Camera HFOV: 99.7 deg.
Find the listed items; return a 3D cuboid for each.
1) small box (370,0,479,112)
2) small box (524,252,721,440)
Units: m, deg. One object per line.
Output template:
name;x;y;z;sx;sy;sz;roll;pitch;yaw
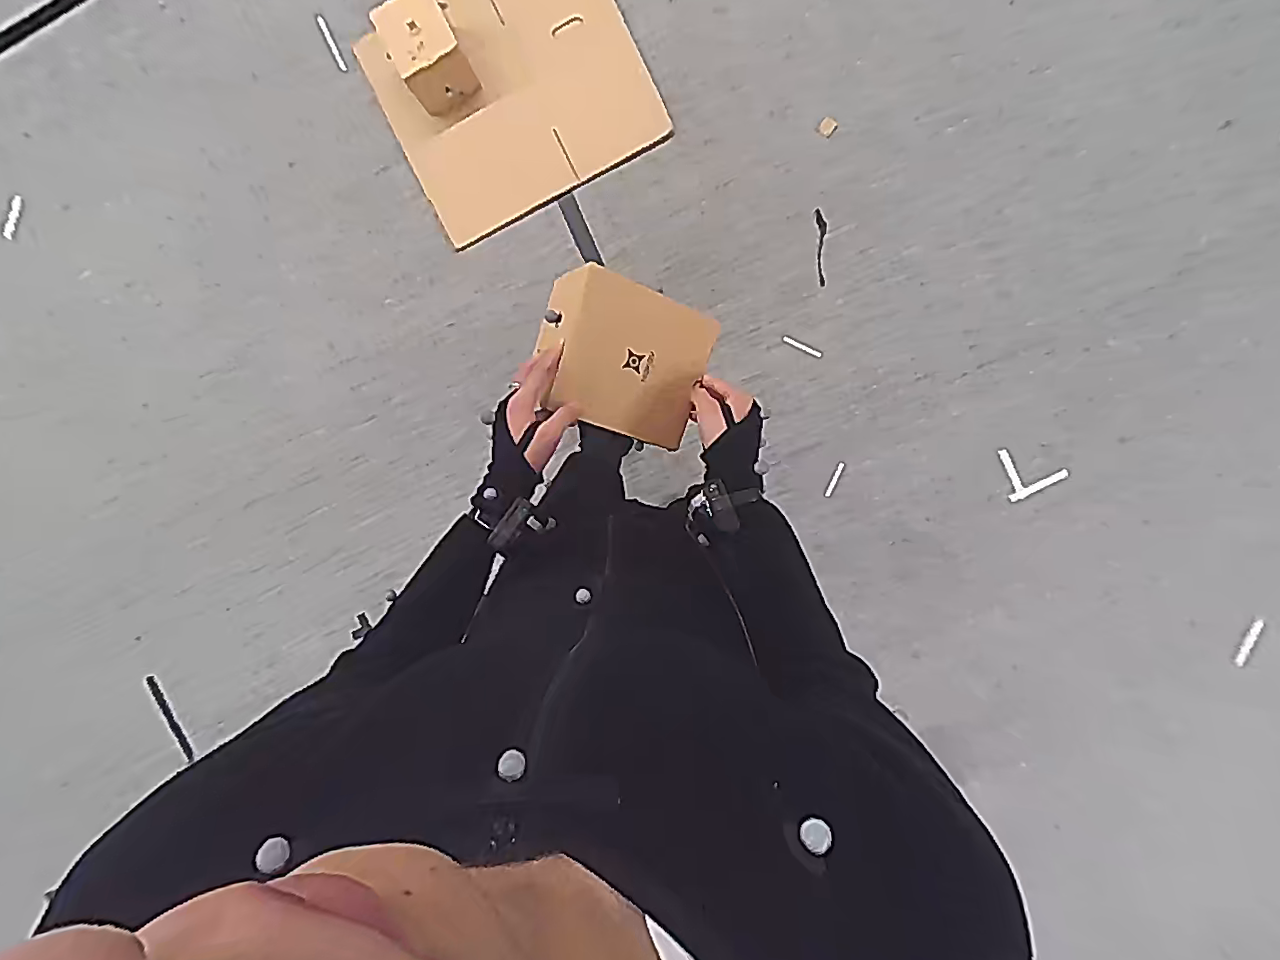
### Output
small box;-0.547;-1.108;1.395;0.168;0.176;0.179;-26;95;6
small box;-0.033;-0.162;0.684;0.179;0.176;0.168;16;98;-25
